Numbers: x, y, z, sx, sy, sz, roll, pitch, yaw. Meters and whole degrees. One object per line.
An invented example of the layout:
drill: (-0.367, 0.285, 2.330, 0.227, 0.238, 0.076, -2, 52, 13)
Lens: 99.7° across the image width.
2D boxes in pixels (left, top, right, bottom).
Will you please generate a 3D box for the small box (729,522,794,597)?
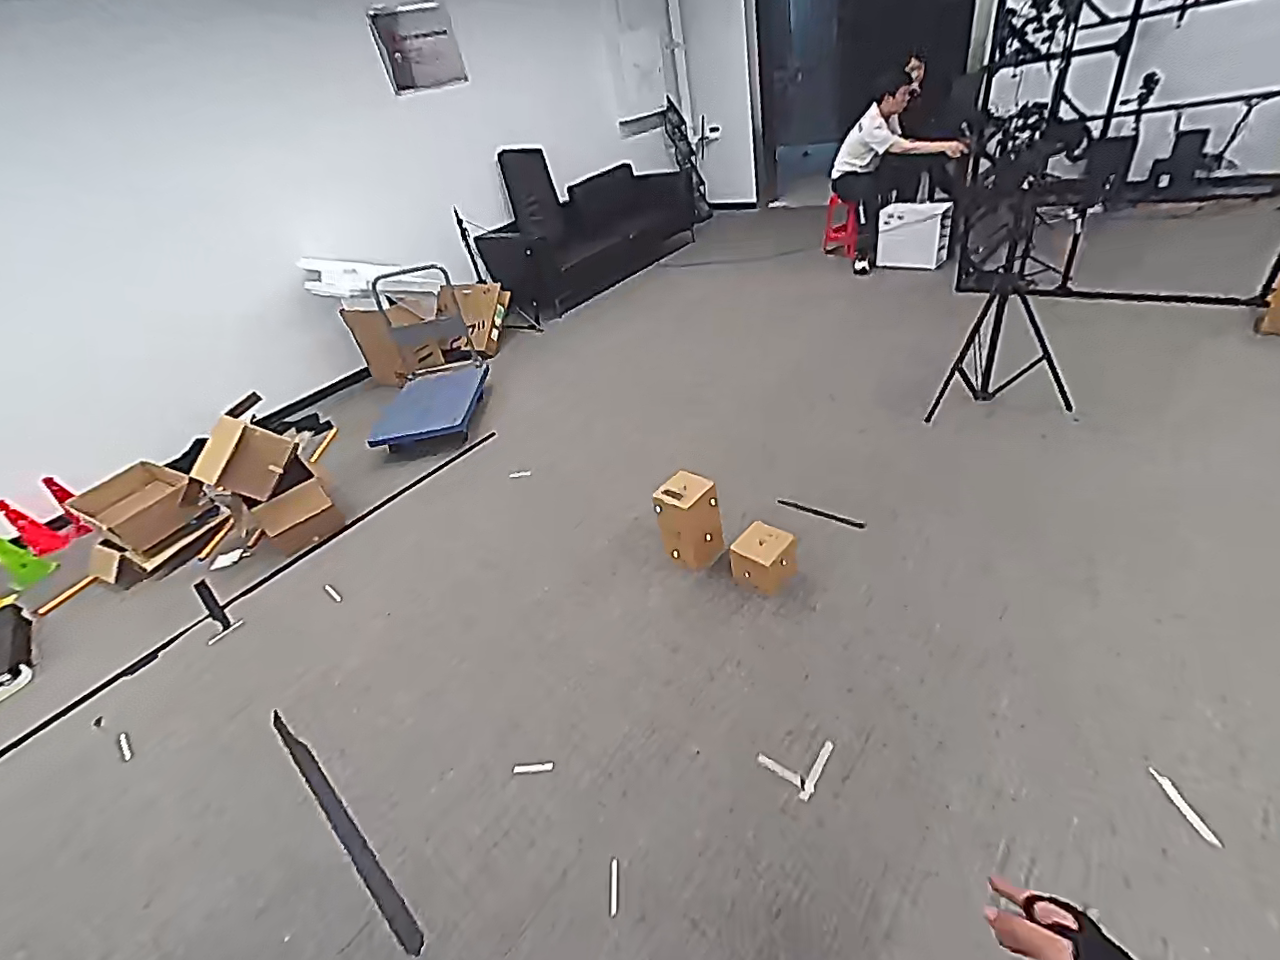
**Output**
small box: (0.444, 0.288, 1.945, 0.168, 0.176, 0.179, 24, 49, 39)

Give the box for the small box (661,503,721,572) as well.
small box: (0.205, 0.226, 2.116, 0.168, 0.176, 0.179, 22, 49, 40)
